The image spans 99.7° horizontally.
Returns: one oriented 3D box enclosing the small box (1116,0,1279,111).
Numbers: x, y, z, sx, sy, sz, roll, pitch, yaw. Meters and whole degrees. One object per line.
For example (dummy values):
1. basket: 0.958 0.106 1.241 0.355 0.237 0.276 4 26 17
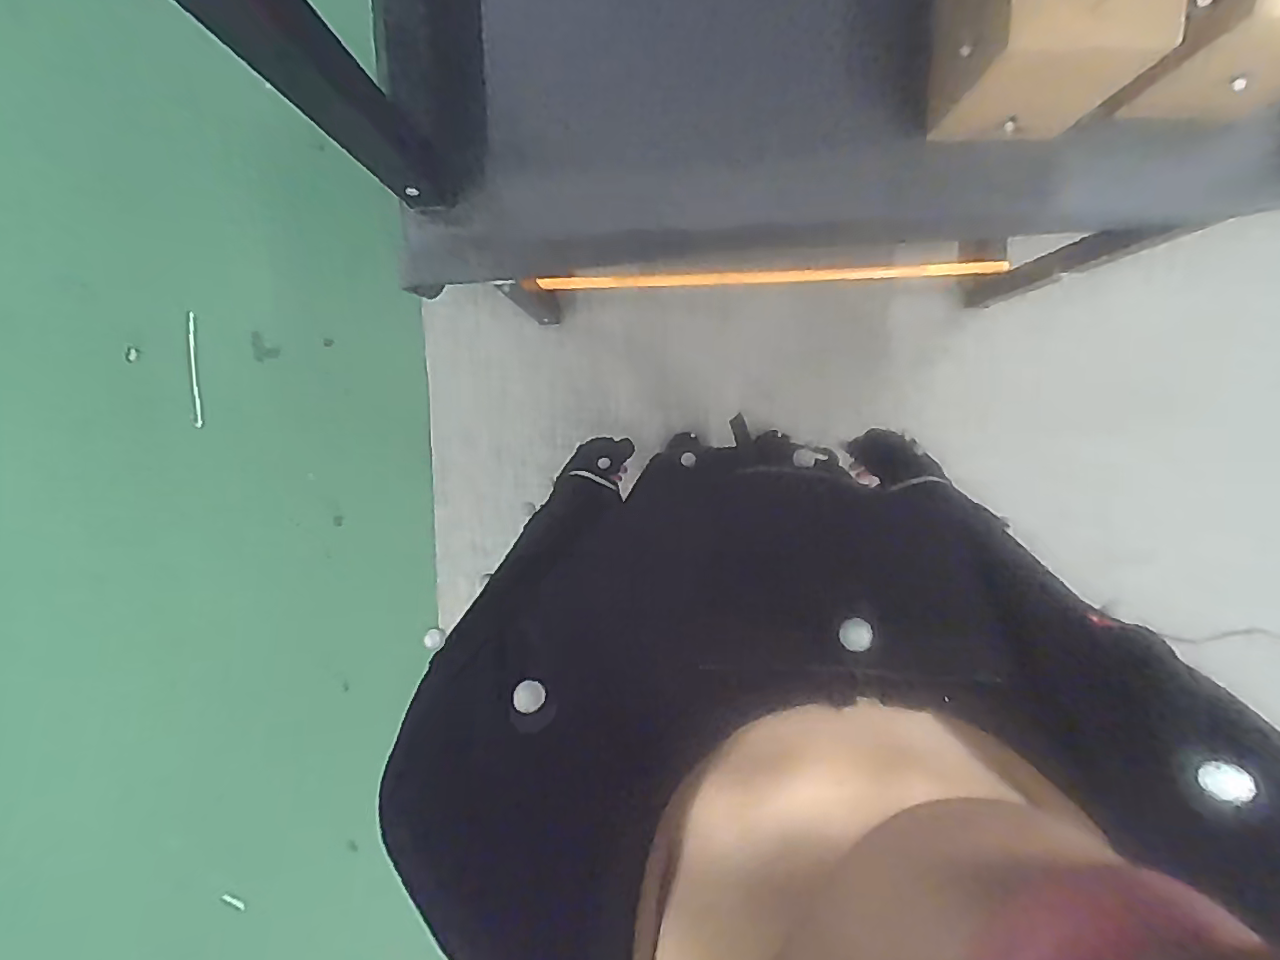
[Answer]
1. small box: 0.670 -0.534 0.585 0.168 0.176 0.179 2 95 2
